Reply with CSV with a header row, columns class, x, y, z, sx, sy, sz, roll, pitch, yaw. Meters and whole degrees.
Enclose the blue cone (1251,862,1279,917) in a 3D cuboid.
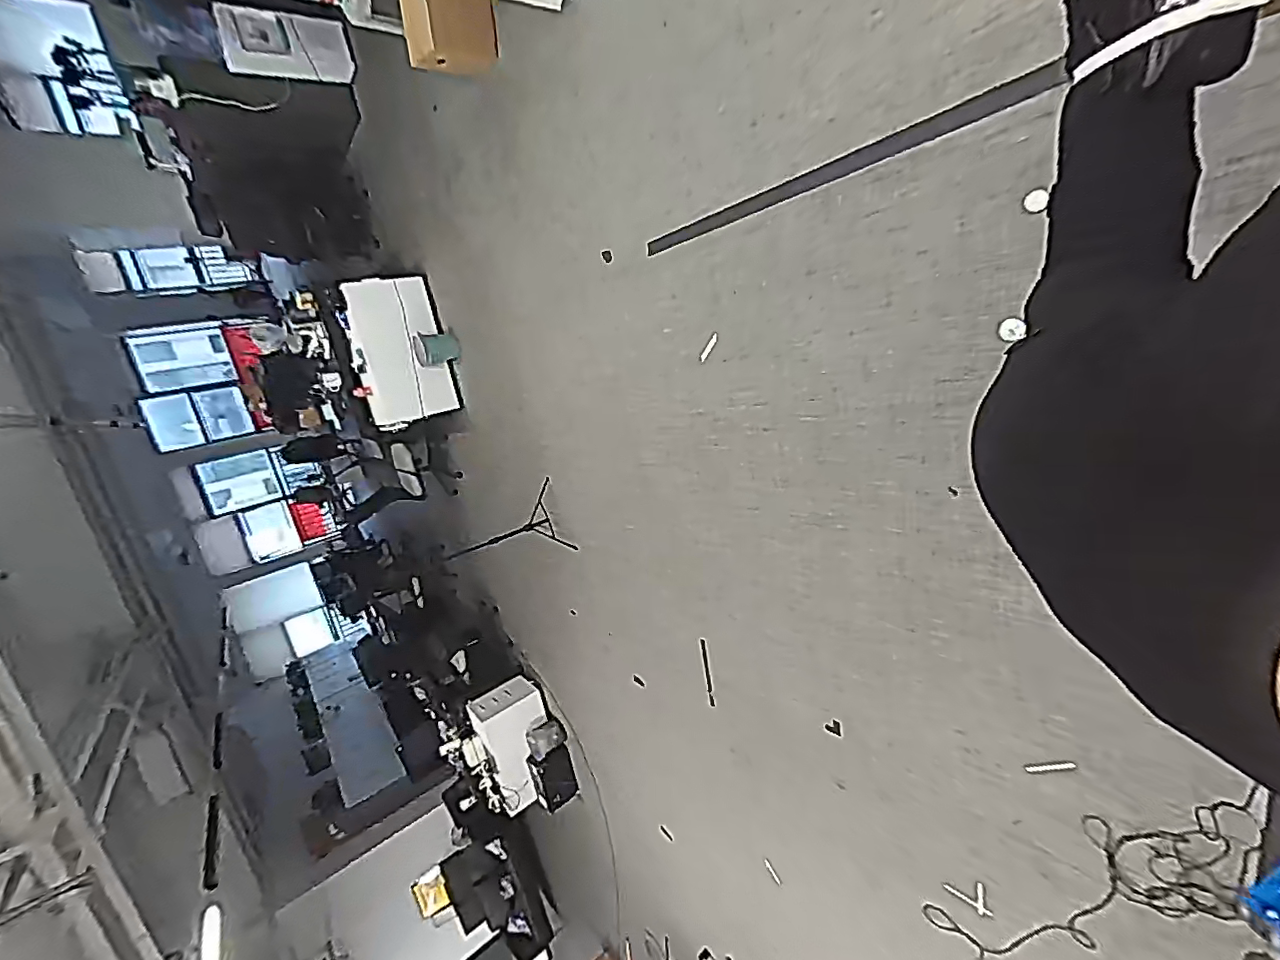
class,x,y,z,sx,sy,sz,roll,pitch,yaw
blue cone,1.344,0.967,1.060,0.193,0.380,0.192,34,133,40
